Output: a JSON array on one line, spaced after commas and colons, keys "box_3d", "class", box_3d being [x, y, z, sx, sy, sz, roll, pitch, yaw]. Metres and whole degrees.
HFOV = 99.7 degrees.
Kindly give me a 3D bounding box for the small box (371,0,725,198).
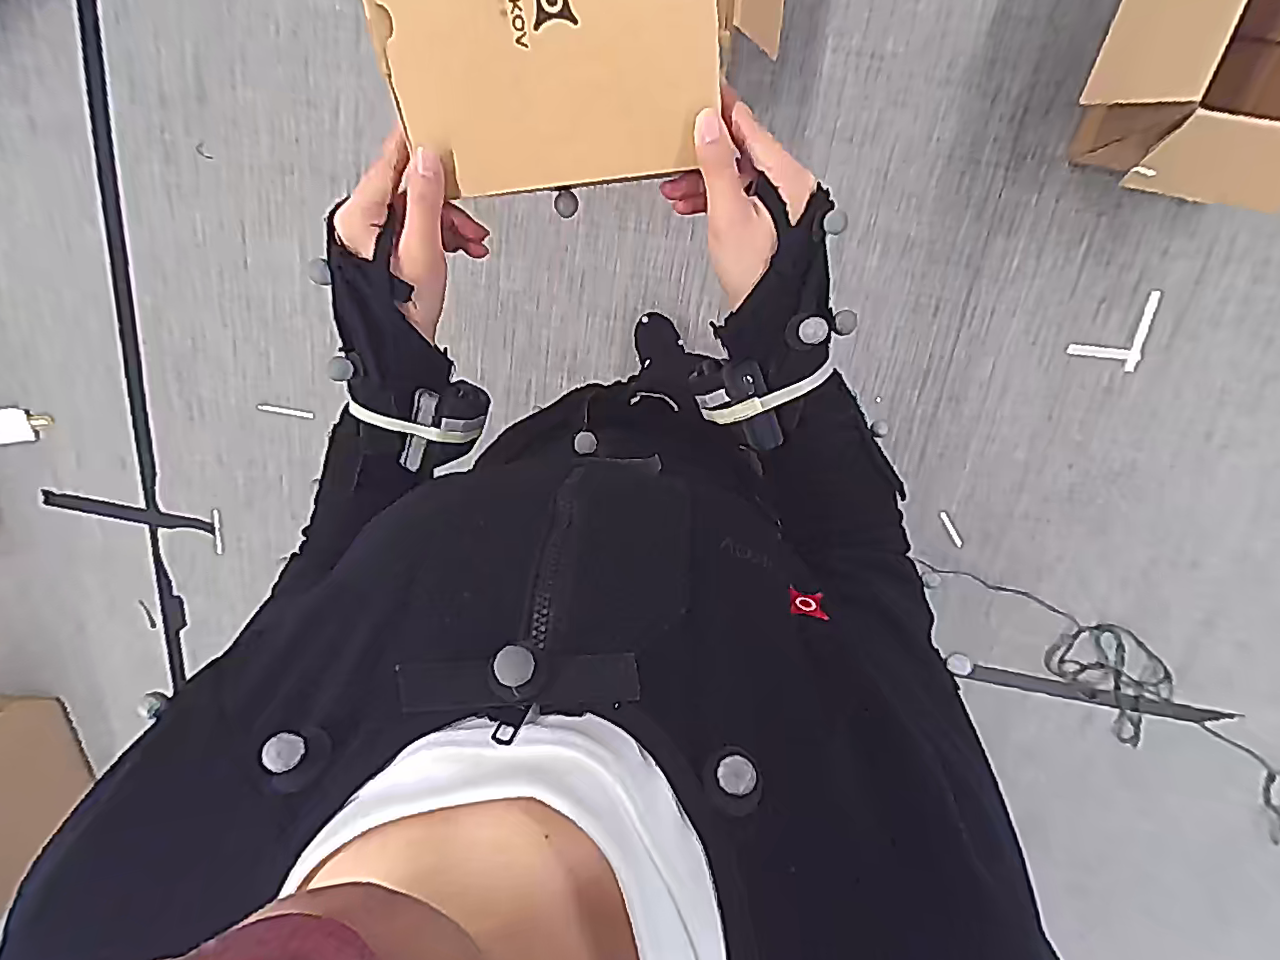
[{"box_3d": [-0.048, -0.280, 0.337, 0.179, 0.176, 0.168, -6, 119, 3], "class": "small box"}]
